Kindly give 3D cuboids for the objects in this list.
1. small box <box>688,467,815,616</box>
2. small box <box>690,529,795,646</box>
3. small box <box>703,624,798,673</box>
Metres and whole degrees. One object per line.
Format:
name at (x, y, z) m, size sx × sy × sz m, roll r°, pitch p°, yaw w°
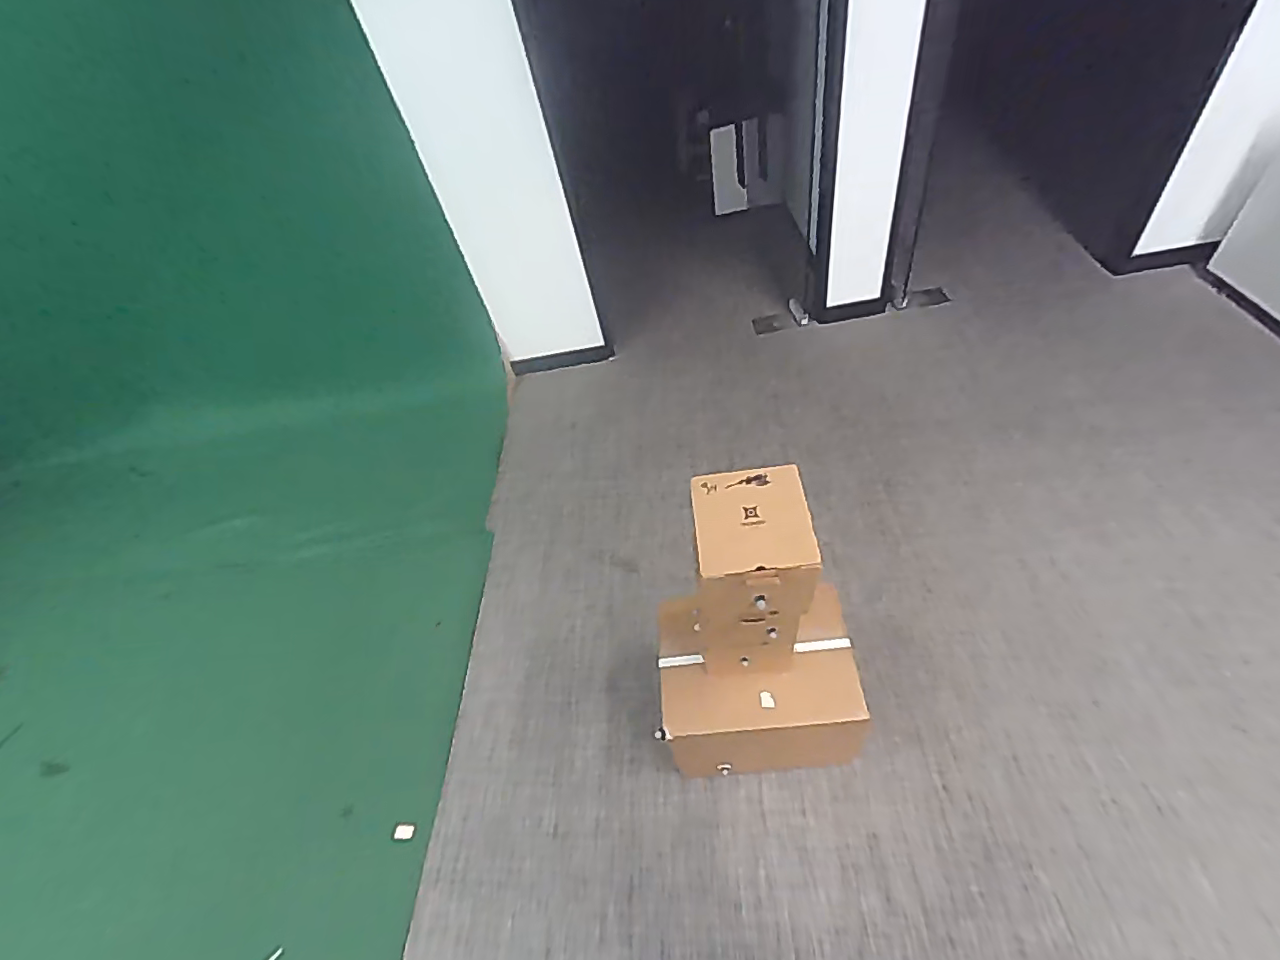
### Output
small box at (0.172, 0.105, 0.856) m, size 0.168 × 0.176 × 0.179 m, roll -7°, pitch 54°, yaw 7°
small box at (0.187, 0.195, 0.992) m, size 0.168 × 0.176 × 0.179 m, roll -7°, pitch 52°, yaw 6°
small box at (0.216, 0.289, 1.120) m, size 0.179 × 0.176 × 0.168 m, roll -9°, pitch 54°, yaw 6°
